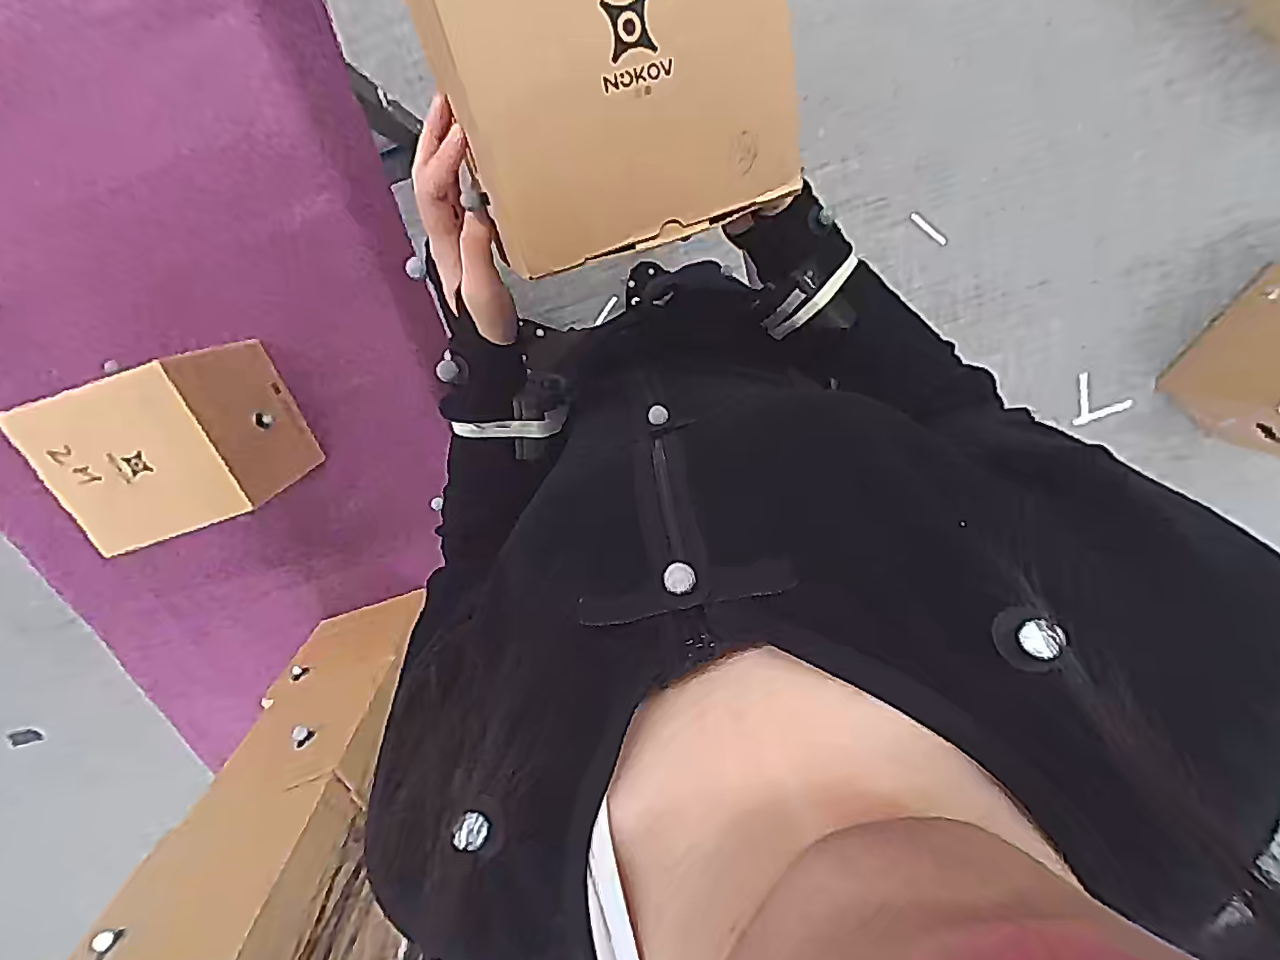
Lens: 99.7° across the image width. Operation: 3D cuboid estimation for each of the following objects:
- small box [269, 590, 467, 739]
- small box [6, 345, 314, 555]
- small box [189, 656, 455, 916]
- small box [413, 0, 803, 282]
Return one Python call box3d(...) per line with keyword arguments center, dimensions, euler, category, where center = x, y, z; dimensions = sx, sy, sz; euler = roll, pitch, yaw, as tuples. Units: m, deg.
box3d(center=(-0.363, 0.283, 0.769), dimensions=(0.179, 0.176, 0.168), euler=(-18, 112, 3), category="small box")
box3d(center=(-0.516, -0.045, 0.623), dimensions=(0.179, 0.176, 0.168), euler=(-18, 112, 3), category="small box")
box3d(center=(-0.332, 0.334, 0.615), dimensions=(0.179, 0.176, 0.168), euler=(-23, 111, 4), category="small box")
box3d(center=(-0.026, -0.239, 0.324), dimensions=(0.168, 0.176, 0.179), euler=(-22, 120, -9), category="small box")
